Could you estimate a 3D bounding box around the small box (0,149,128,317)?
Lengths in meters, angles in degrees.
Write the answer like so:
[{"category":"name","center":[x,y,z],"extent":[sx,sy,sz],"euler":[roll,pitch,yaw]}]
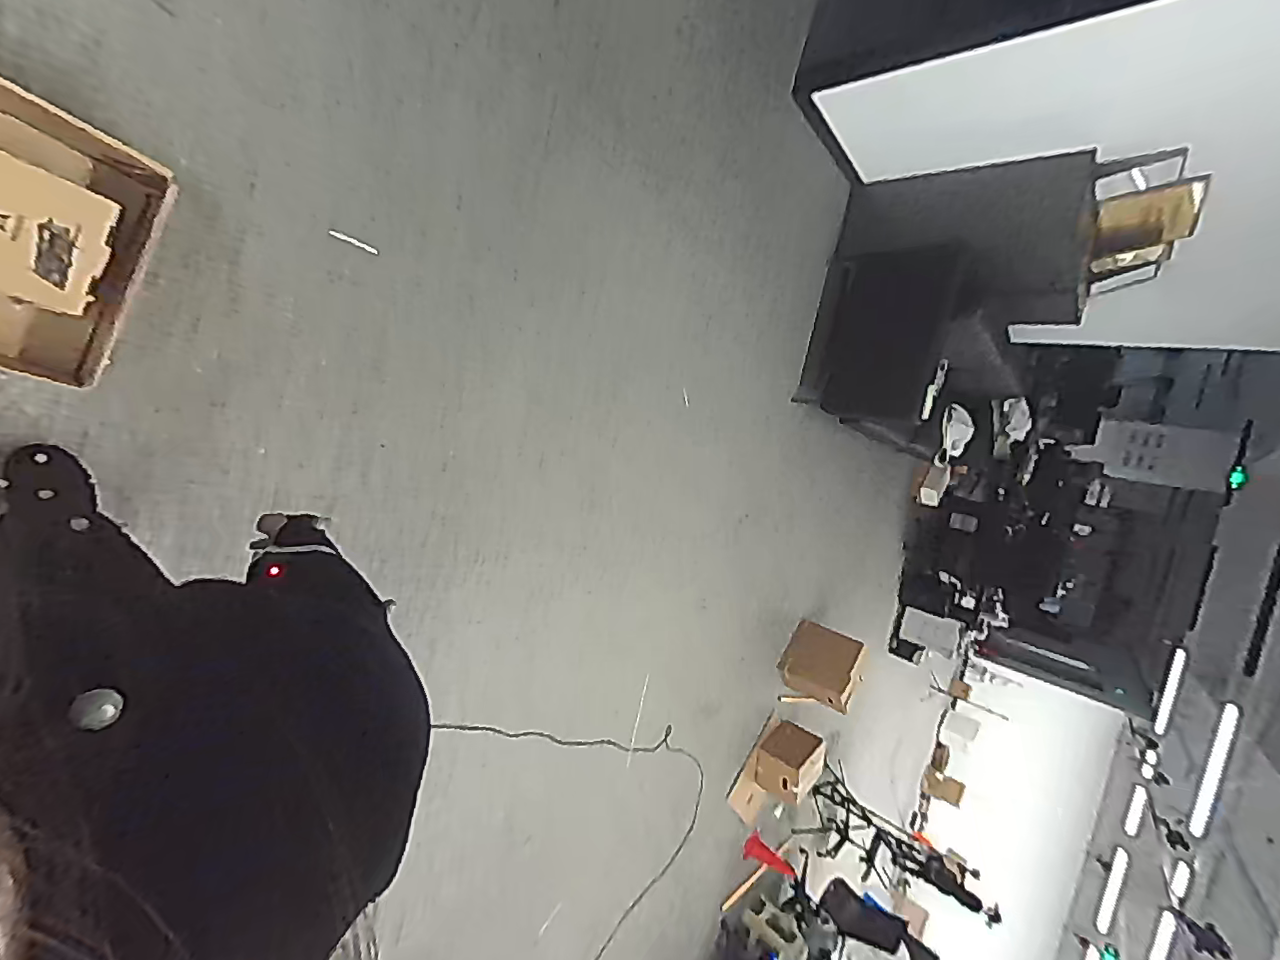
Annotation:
[{"category":"small box","center":[-0.840,-0.336,0.727],"extent":[0.179,0.176,0.168],"euler":[20,88,-50]}]
